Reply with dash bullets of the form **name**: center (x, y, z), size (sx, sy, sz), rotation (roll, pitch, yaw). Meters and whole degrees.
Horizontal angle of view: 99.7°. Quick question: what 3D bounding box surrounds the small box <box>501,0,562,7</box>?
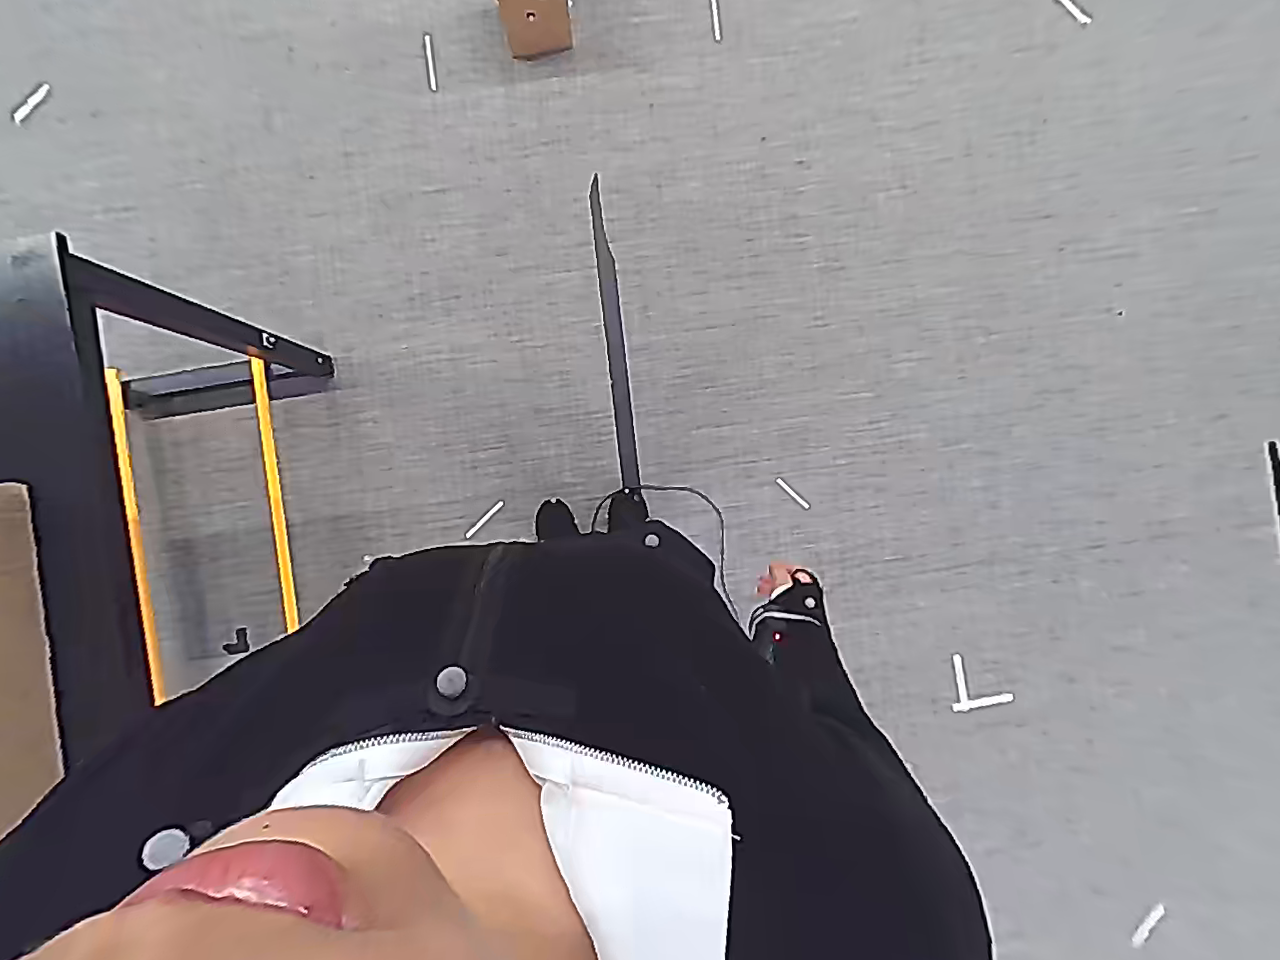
- **small box**: center (-0.271, -1.254, 1.246), size (0.168, 0.176, 0.179), rotation (-8, 91, -1)

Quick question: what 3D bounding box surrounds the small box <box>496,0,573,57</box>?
- **small box**: center (-0.280, -1.252, 1.411), size (0.179, 0.176, 0.168), rotation (-11, 90, -2)
